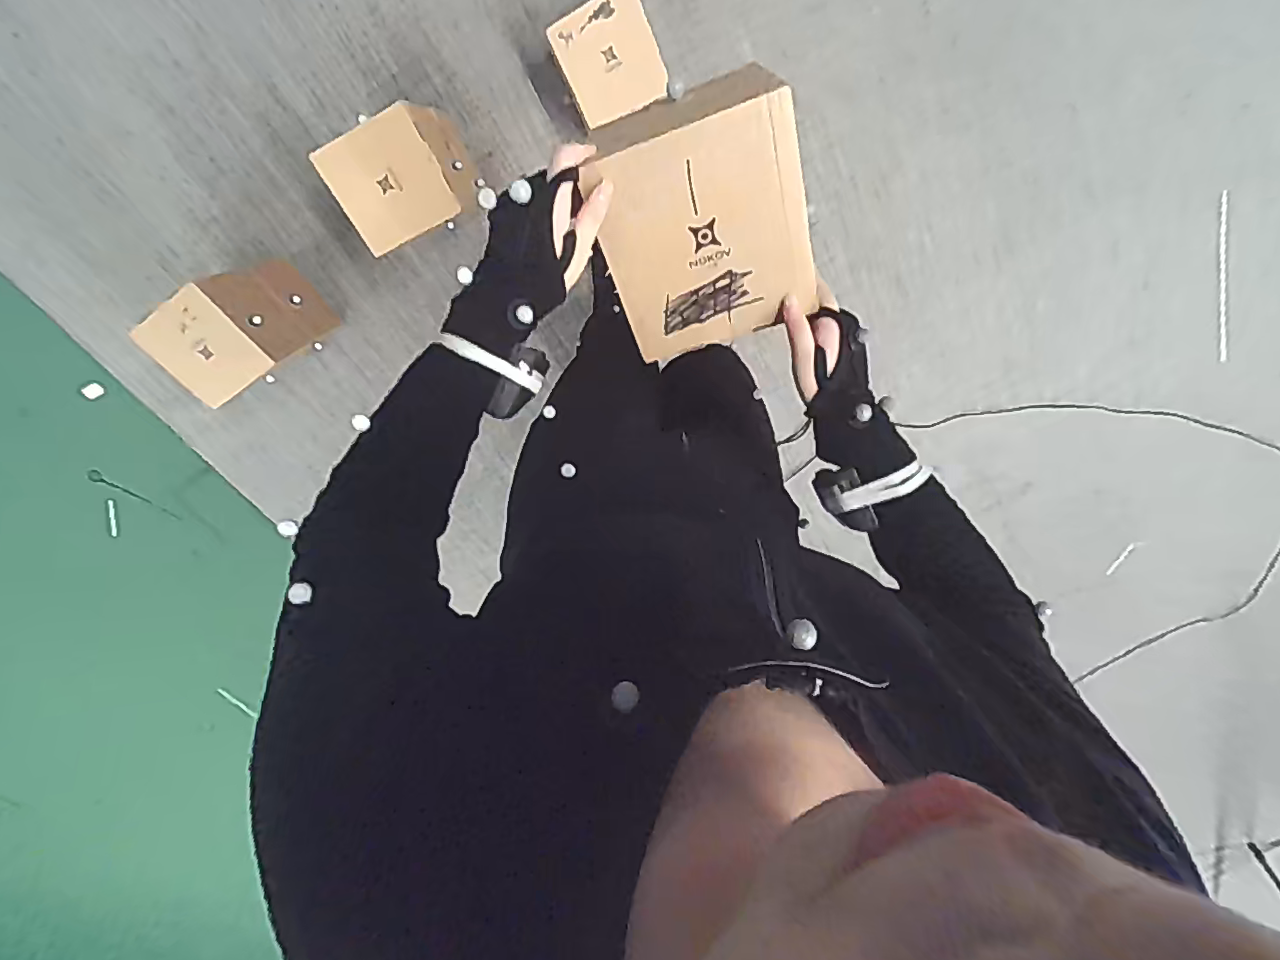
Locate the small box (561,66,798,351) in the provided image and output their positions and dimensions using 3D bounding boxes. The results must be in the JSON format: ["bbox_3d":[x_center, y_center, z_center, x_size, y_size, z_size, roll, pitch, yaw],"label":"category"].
[{"bbox_3d":[0.044,-0.255,0.511,0.168,0.176,0.179,-13,129,13],"label":"small box"}]

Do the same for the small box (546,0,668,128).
[{"bbox_3d":[-0.058,-0.767,1.018,0.168,0.176,0.179,-25,119,9],"label":"small box"}]

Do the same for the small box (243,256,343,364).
[{"bbox_3d":[-0.796,-0.364,1.182,0.168,0.176,0.179,-28,117,10],"label":"small box"}]

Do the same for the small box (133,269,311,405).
[{"bbox_3d":[-0.784,-0.281,1.040,0.168,0.176,0.179,-30,117,10],"label":"small box"}]

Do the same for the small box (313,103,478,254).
[{"bbox_3d":[-0.410,-0.516,0.941,0.179,0.176,0.168,-24,118,8],"label":"small box"}]
